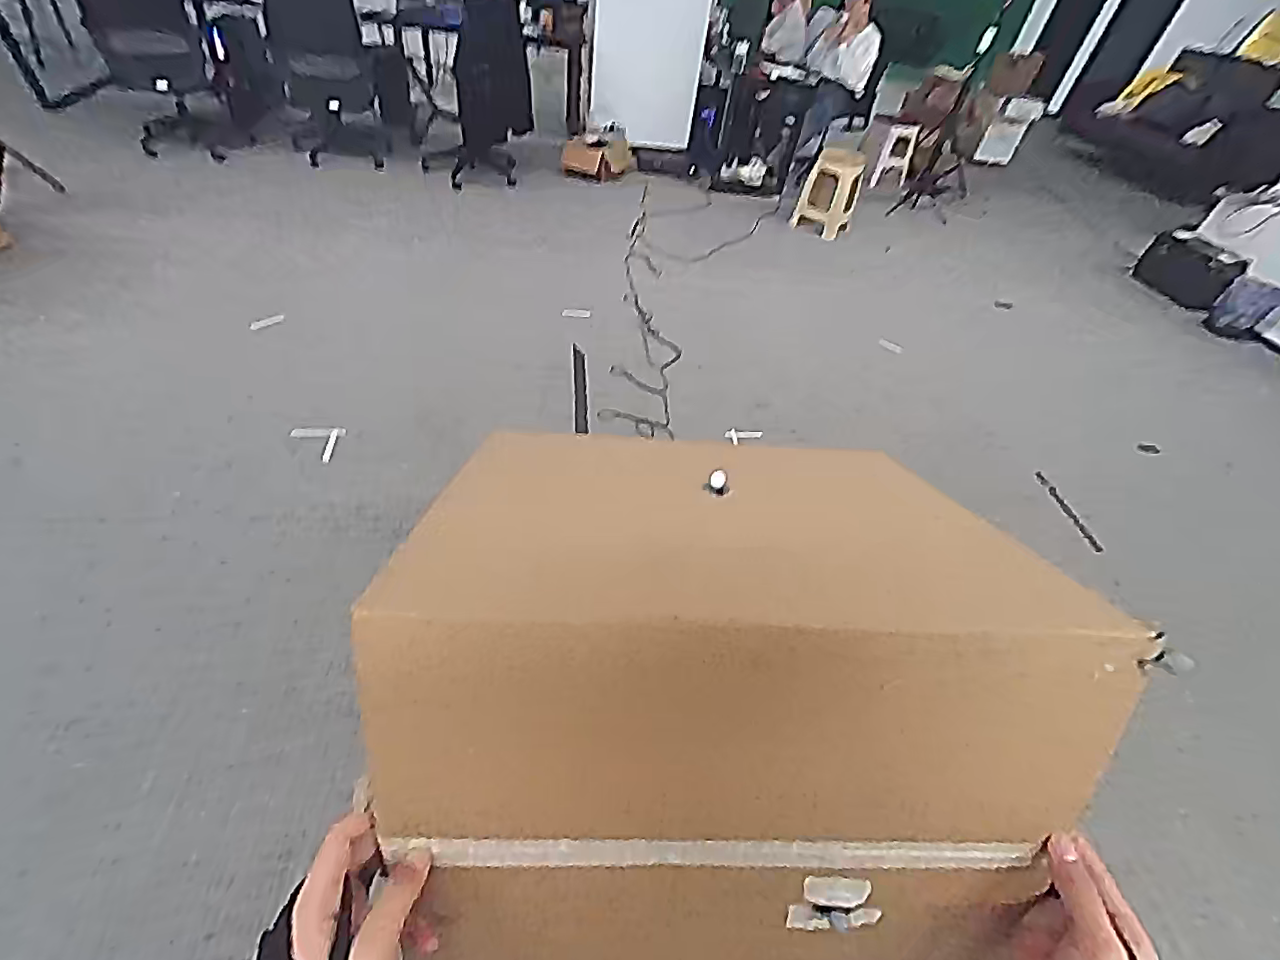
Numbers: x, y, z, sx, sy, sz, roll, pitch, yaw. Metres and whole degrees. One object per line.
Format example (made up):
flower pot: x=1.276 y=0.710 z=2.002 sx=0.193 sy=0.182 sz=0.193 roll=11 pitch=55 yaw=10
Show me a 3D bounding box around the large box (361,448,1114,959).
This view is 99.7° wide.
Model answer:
large box: x=0.044 y=0.162 z=0.469 sx=0.408 sy=0.320 sz=0.320 roll=2 pitch=22 yaw=-4
